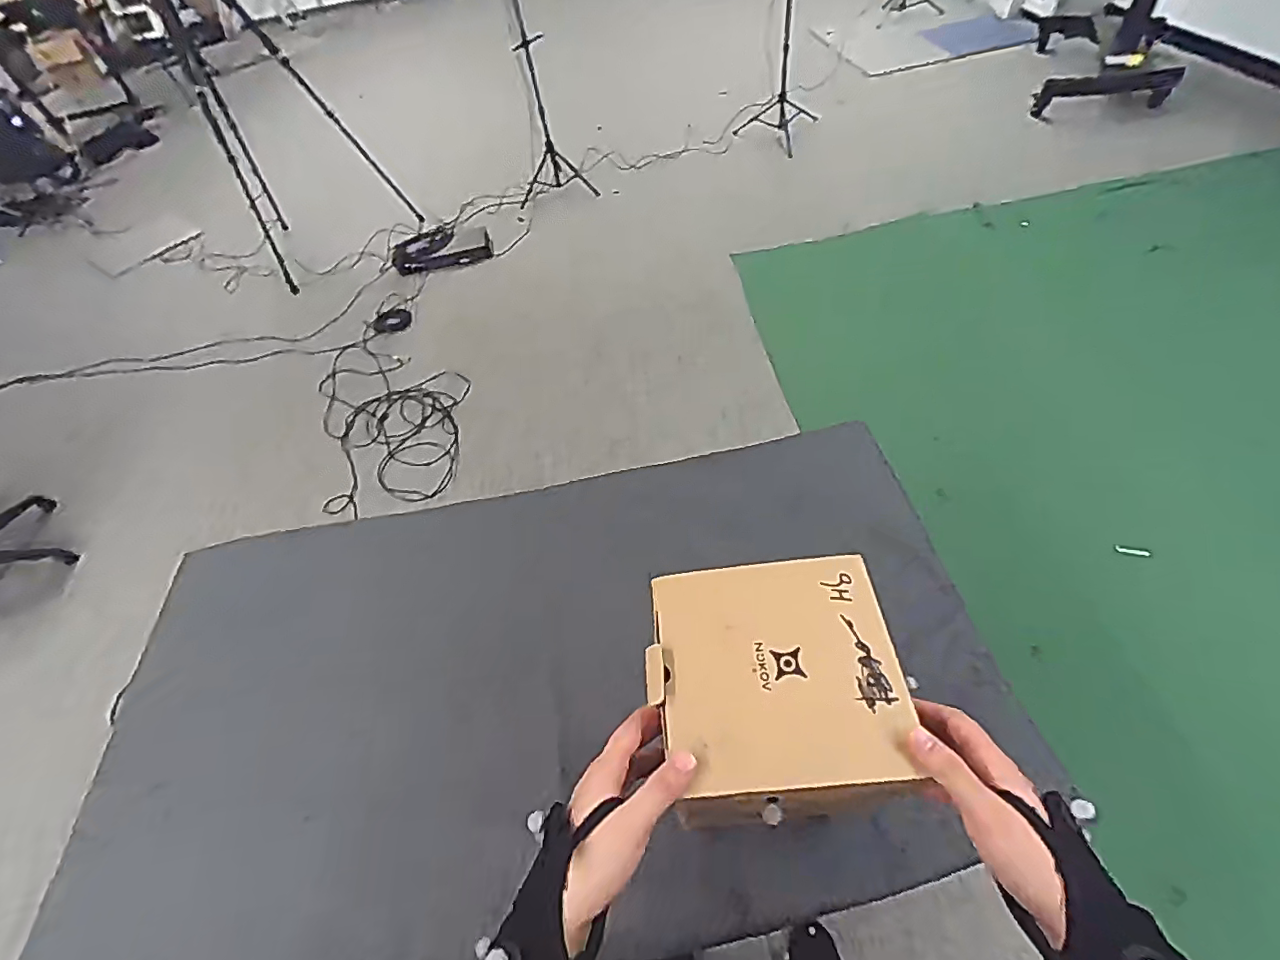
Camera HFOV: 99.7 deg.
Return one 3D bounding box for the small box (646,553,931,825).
[{"bbox_3d":[0.105,0.181,0.452,0.179,0.176,0.168,-7,52,5],"label":"small box"}]
